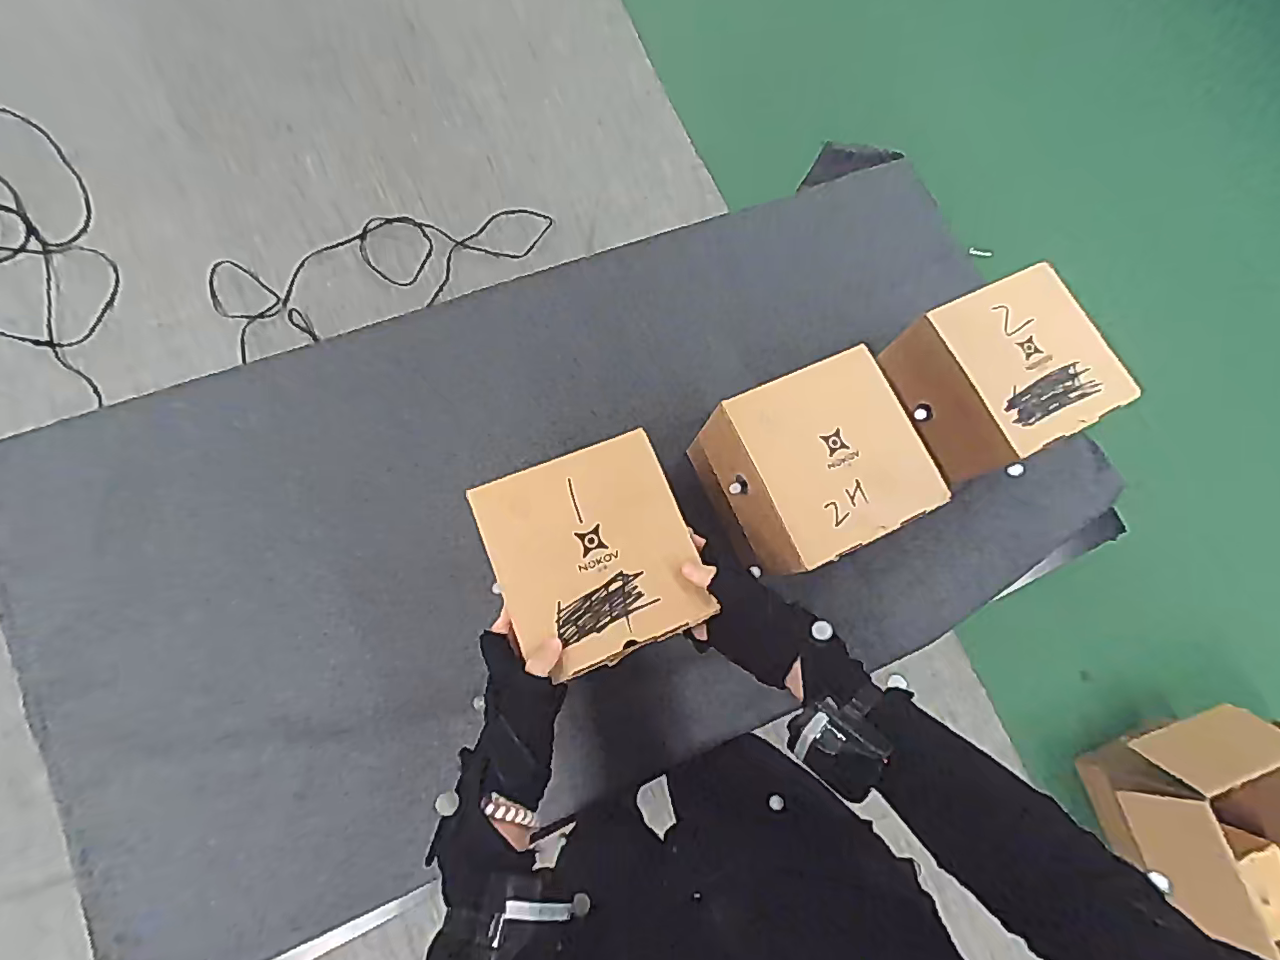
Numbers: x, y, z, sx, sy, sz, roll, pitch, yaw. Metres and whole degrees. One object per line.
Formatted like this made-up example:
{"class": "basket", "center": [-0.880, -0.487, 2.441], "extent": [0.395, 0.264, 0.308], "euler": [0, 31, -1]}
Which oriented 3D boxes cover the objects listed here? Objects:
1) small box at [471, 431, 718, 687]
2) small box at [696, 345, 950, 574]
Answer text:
{"class": "small box", "center": [-0.044, 0.079, 0.533], "extent": [0.168, 0.176, 0.179], "euler": [-21, 77, -10]}
{"class": "small box", "center": [0.176, -0.011, 0.584], "extent": [0.168, 0.176, 0.179], "euler": [-23, 81, -10]}
